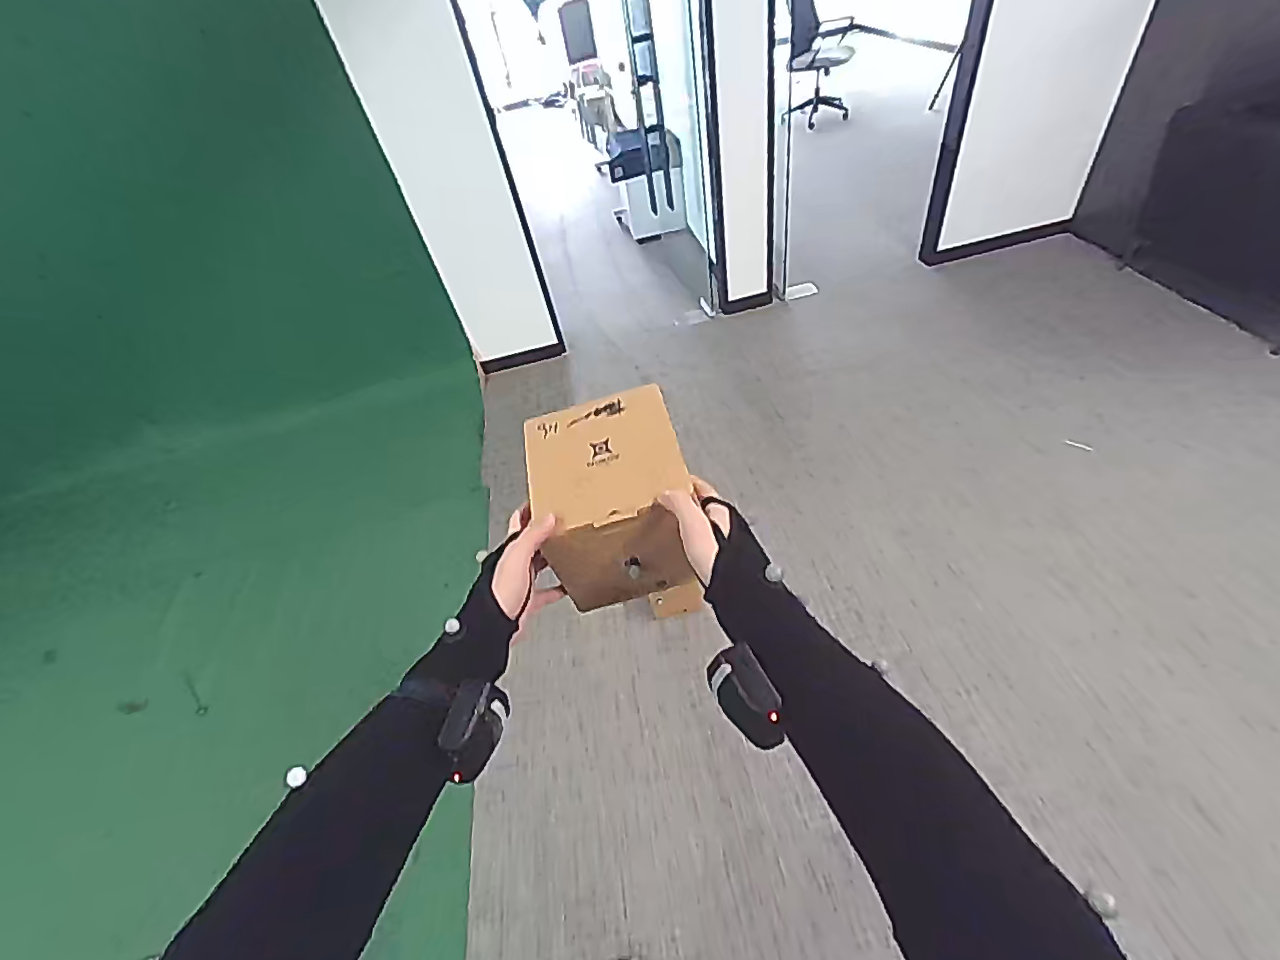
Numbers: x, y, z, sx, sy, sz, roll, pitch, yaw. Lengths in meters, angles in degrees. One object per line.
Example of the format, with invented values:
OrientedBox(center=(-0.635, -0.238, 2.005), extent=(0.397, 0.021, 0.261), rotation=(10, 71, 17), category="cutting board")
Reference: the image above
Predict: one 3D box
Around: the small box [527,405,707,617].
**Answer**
OrientedBox(center=(-0.025, 0.045, 0.645), extent=(0.168, 0.176, 0.179), rotation=(-16, 49, 1), category="small box")
